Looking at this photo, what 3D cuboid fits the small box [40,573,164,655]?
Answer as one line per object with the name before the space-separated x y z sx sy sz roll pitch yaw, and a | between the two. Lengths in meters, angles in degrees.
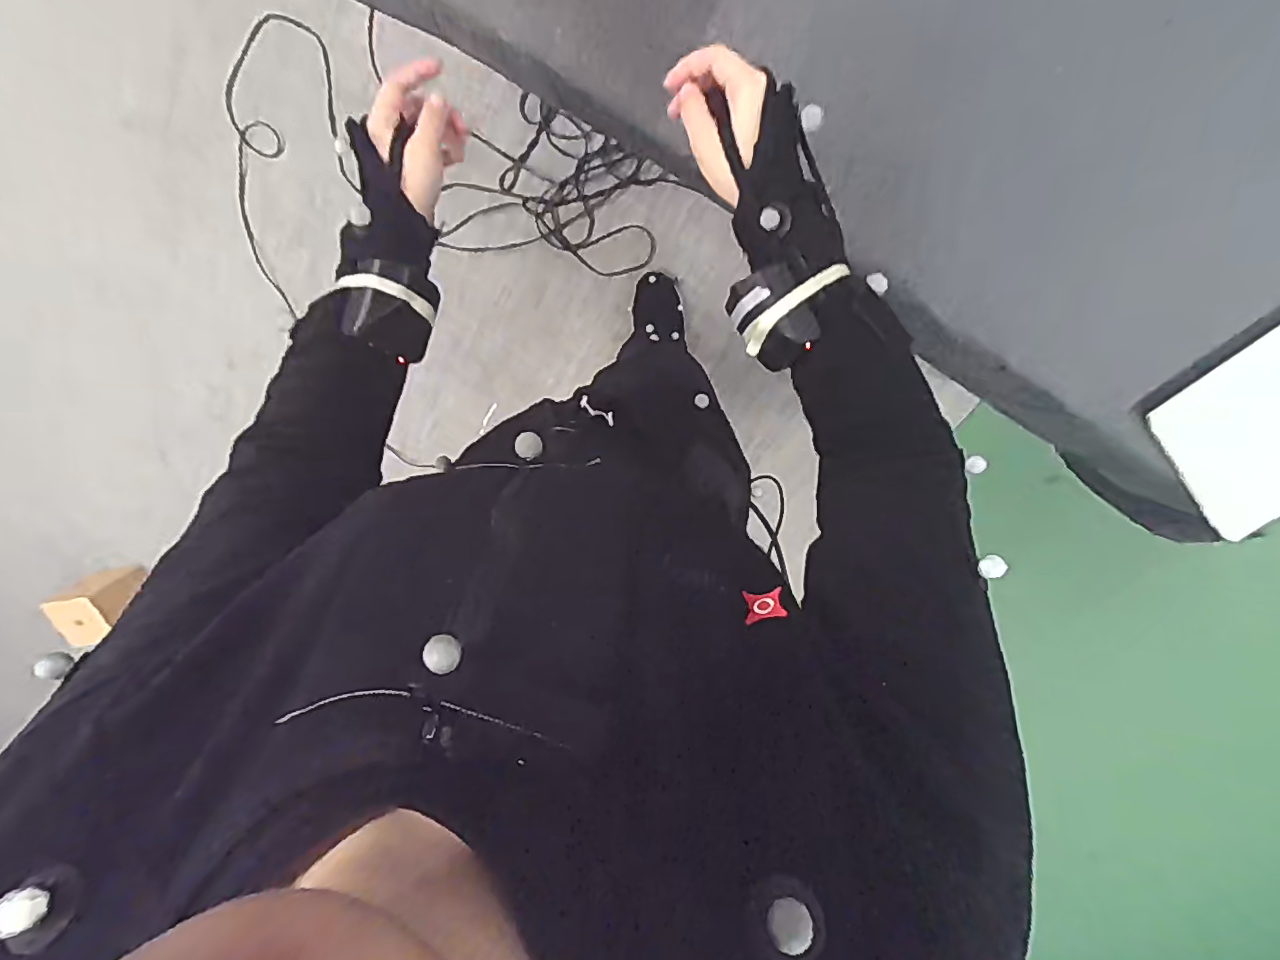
small box | -1.626 0.405 1.646 0.179 0.176 0.168 -11 113 9
